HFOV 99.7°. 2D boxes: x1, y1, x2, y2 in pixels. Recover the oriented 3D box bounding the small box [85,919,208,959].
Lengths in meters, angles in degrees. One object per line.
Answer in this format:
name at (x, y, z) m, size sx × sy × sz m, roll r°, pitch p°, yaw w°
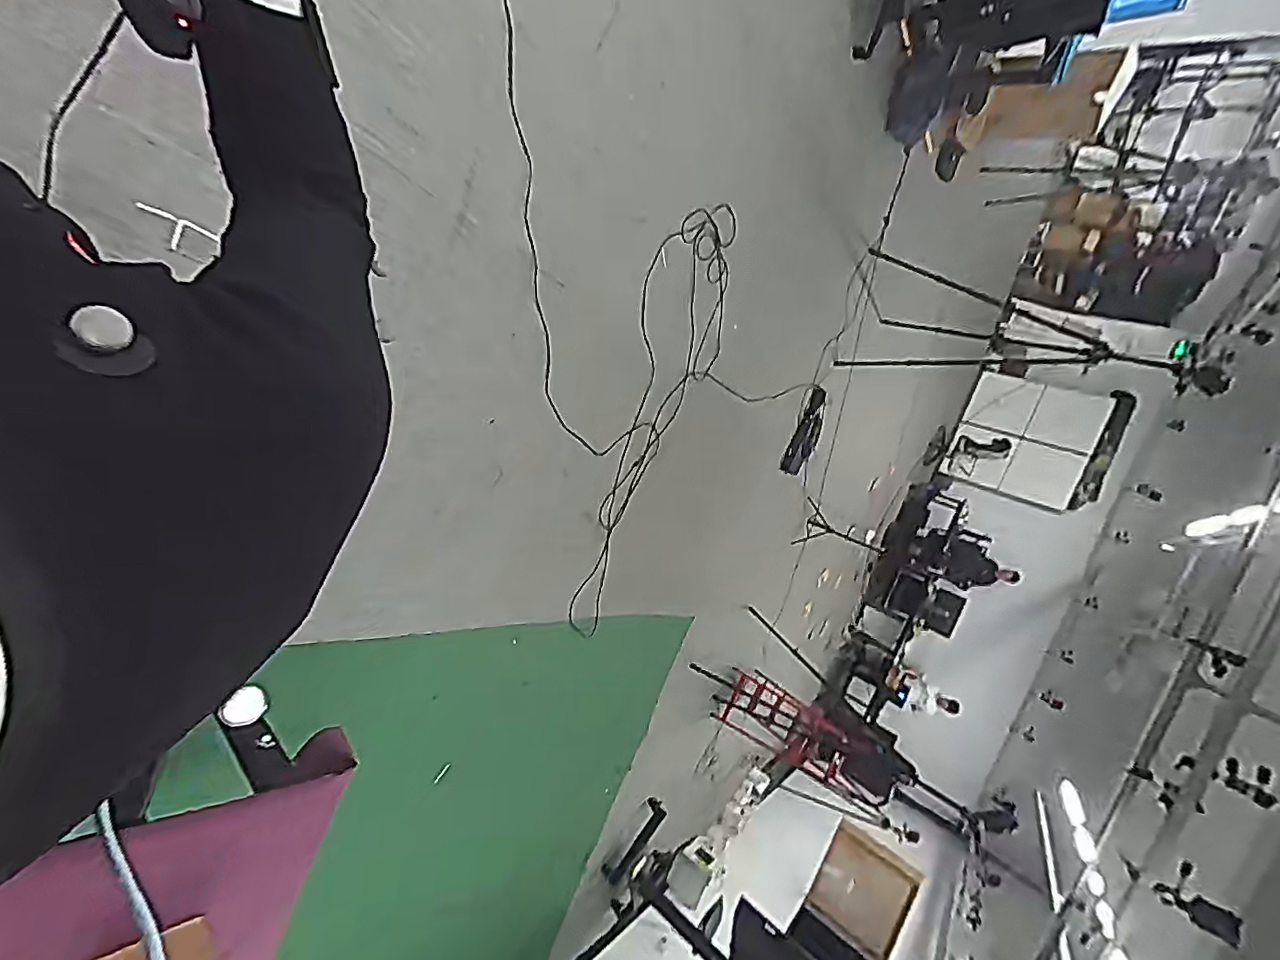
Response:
small box at (-0.723, 0.790, 0.761) m, size 0.168 × 0.176 × 0.179 m, roll 13°, pitch 99°, yaw -55°
